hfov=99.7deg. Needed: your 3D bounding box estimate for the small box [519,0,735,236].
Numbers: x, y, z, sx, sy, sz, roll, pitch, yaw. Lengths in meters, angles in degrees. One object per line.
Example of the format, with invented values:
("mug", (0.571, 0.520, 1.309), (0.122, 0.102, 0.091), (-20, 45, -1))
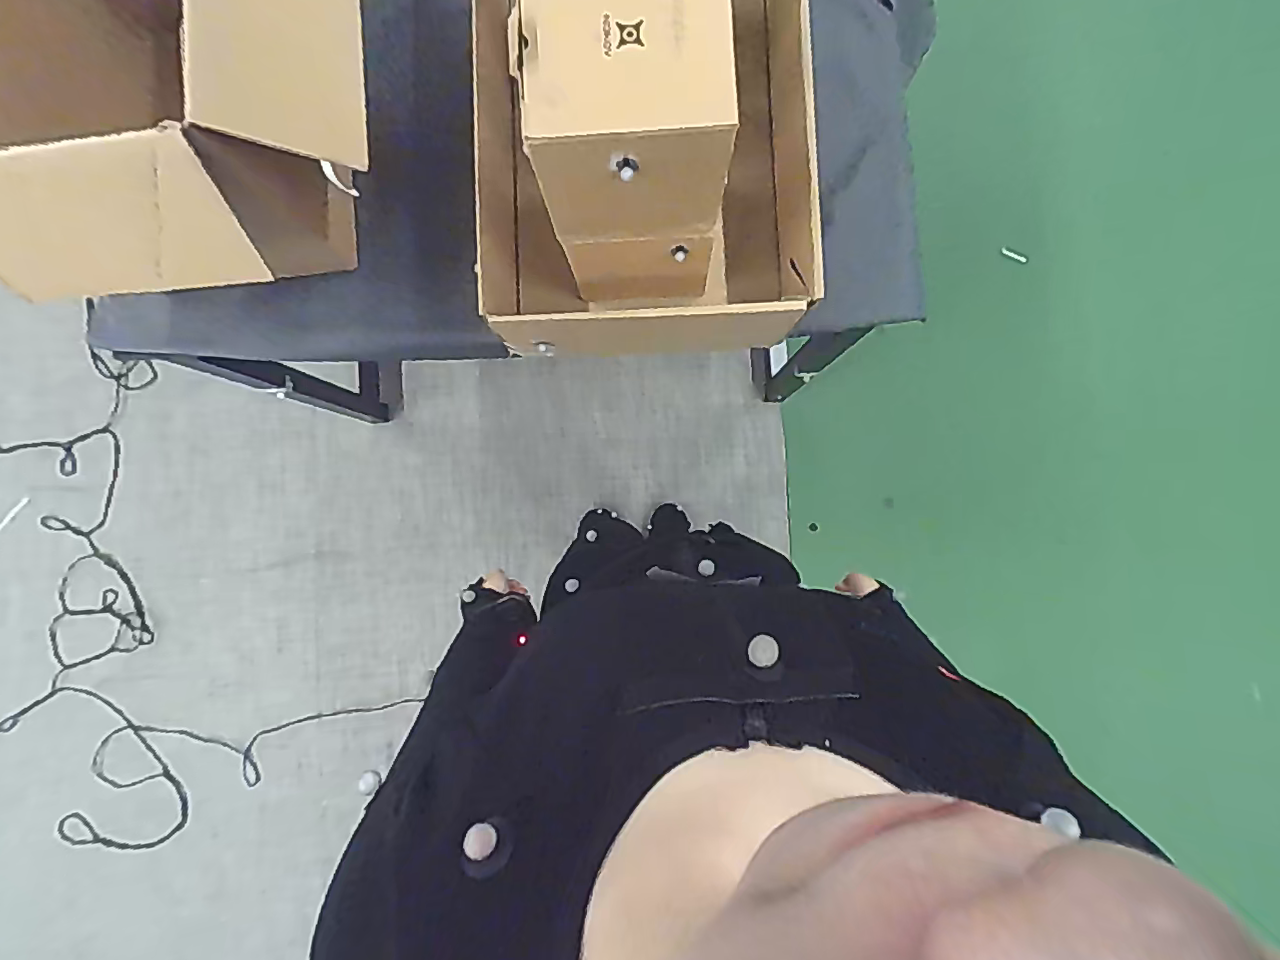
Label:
("small box", (-0.010, -0.356, 0.524), (0.179, 0.176, 0.168), (-3, 88, 0))
